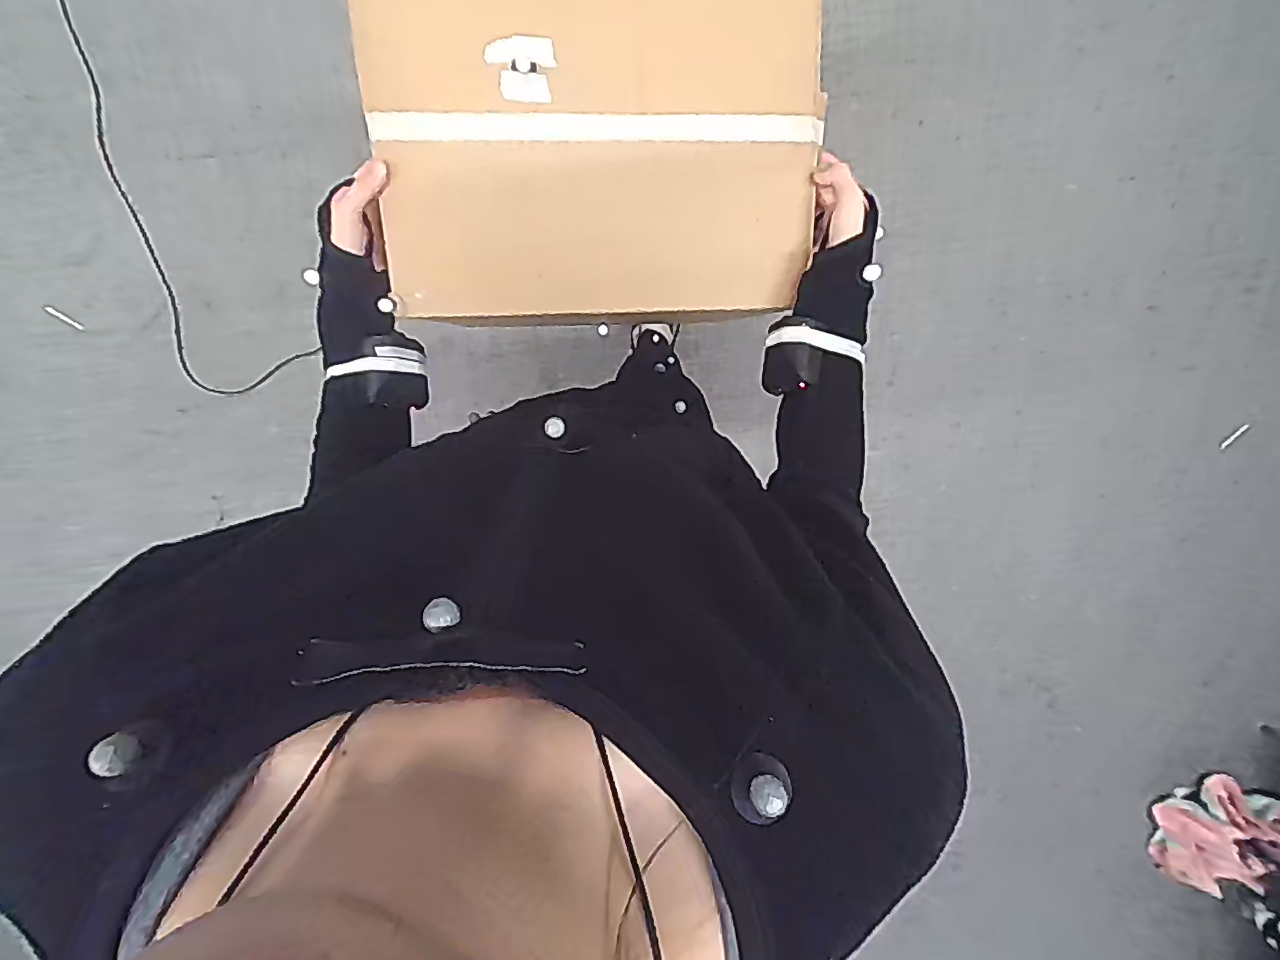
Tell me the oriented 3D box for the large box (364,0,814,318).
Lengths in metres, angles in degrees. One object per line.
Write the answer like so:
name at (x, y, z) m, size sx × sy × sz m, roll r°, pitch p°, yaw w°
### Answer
large box at (-0.049, -0.362, 0.645) m, size 0.408 × 0.320 × 0.320 m, roll -3°, pitch 104°, yaw -6°
